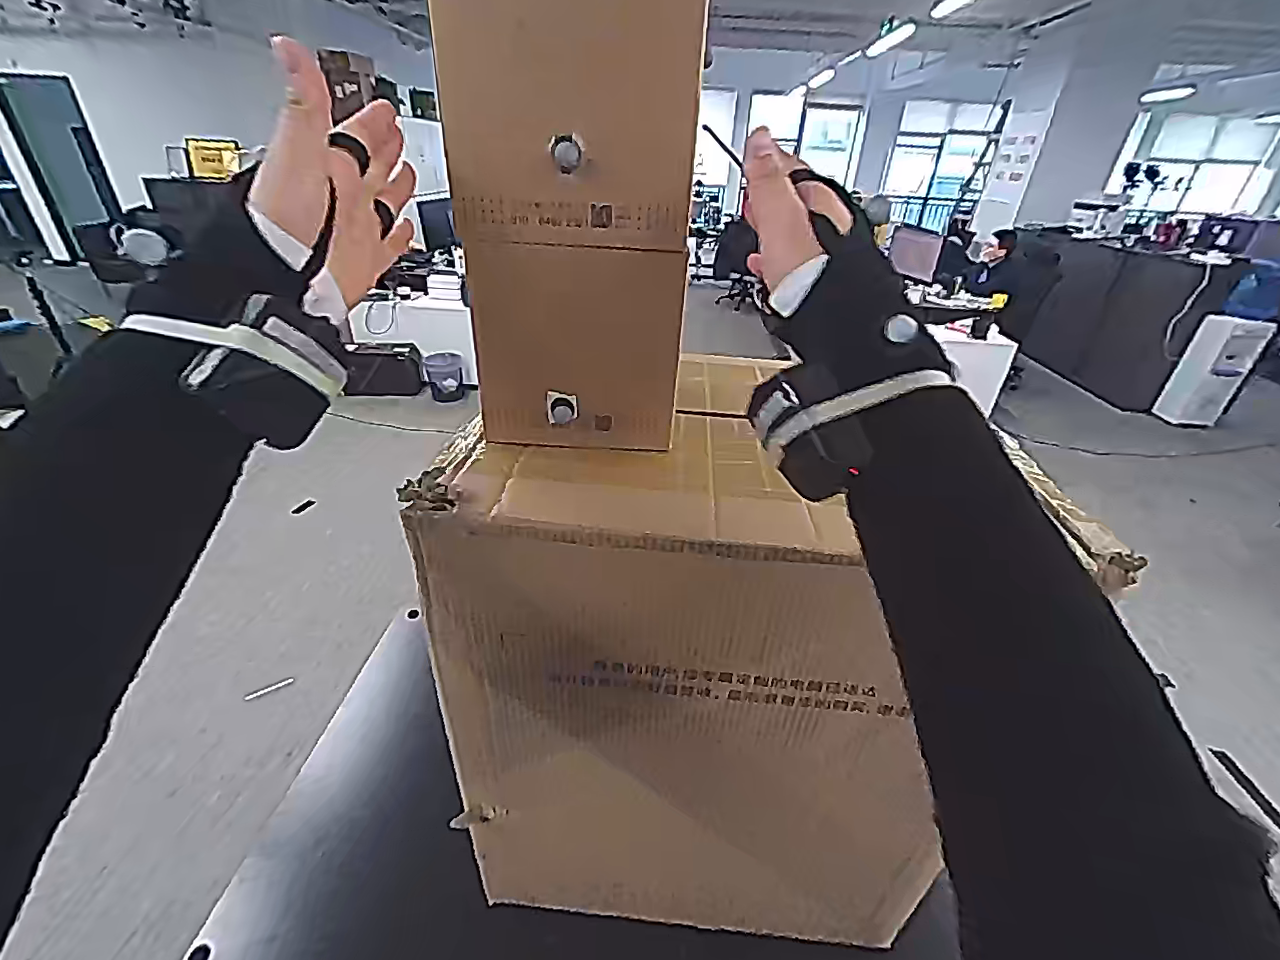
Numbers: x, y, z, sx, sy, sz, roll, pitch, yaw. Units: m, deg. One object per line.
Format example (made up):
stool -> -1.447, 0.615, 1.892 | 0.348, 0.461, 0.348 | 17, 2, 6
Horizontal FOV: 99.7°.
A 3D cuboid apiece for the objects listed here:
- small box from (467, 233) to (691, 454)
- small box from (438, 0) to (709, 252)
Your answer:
small box -> -0.049, -0.140, 0.499 | 0.168, 0.176, 0.179 | 1, 33, -2
small box -> -0.043, -0.279, 0.411 | 0.168, 0.176, 0.179 | 2, 31, -1
